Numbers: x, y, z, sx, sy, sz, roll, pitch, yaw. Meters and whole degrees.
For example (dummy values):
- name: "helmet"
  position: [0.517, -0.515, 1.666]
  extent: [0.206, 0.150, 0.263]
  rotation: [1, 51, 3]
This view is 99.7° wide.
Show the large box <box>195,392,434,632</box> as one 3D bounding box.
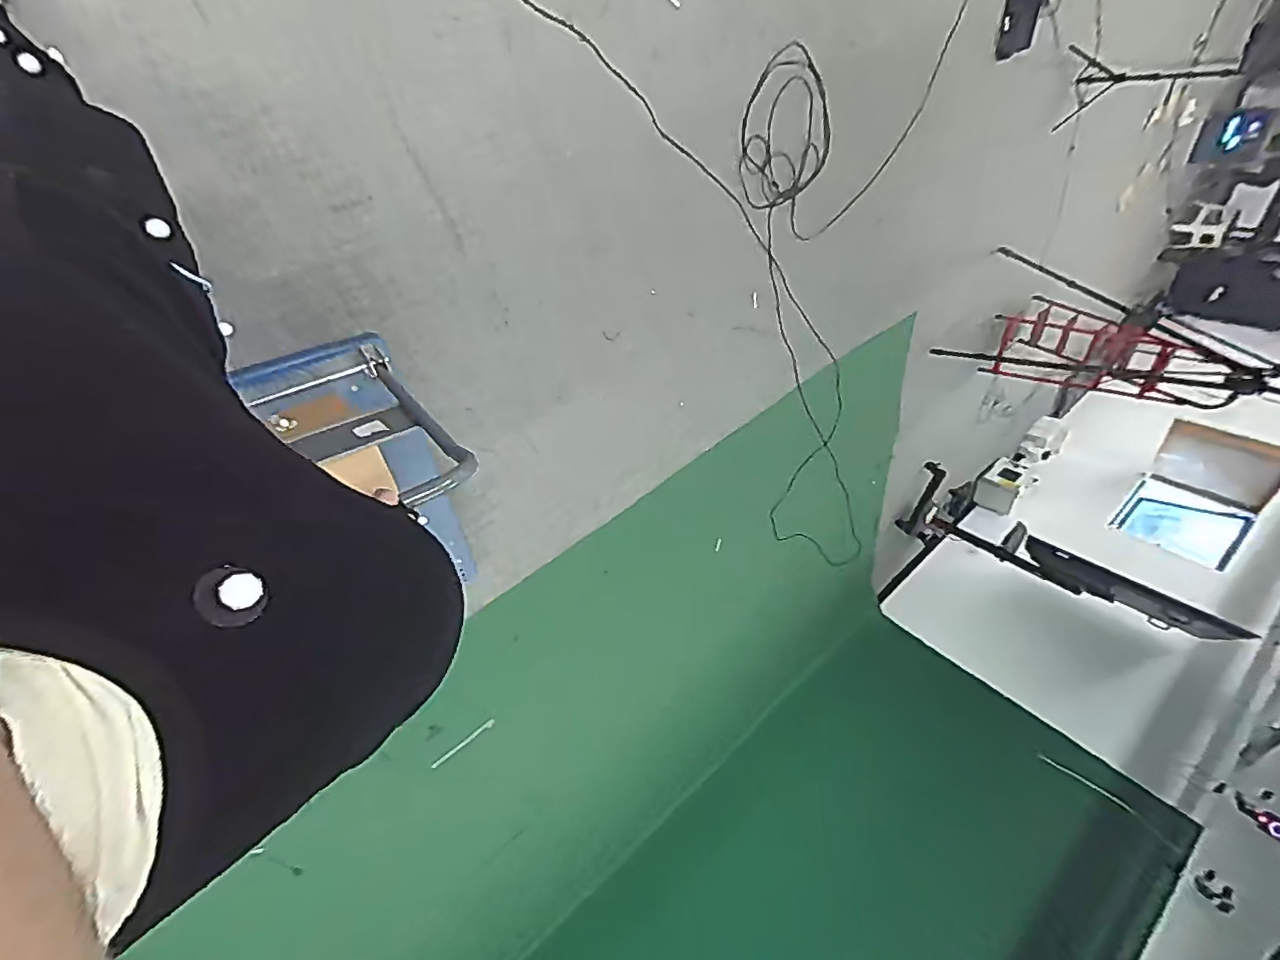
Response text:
- name: "large box"
  position: [-0.755, 0.065, 1.280]
  extent: [0.320, 0.320, 0.408]
  rotation: [-29, 133, -26]
